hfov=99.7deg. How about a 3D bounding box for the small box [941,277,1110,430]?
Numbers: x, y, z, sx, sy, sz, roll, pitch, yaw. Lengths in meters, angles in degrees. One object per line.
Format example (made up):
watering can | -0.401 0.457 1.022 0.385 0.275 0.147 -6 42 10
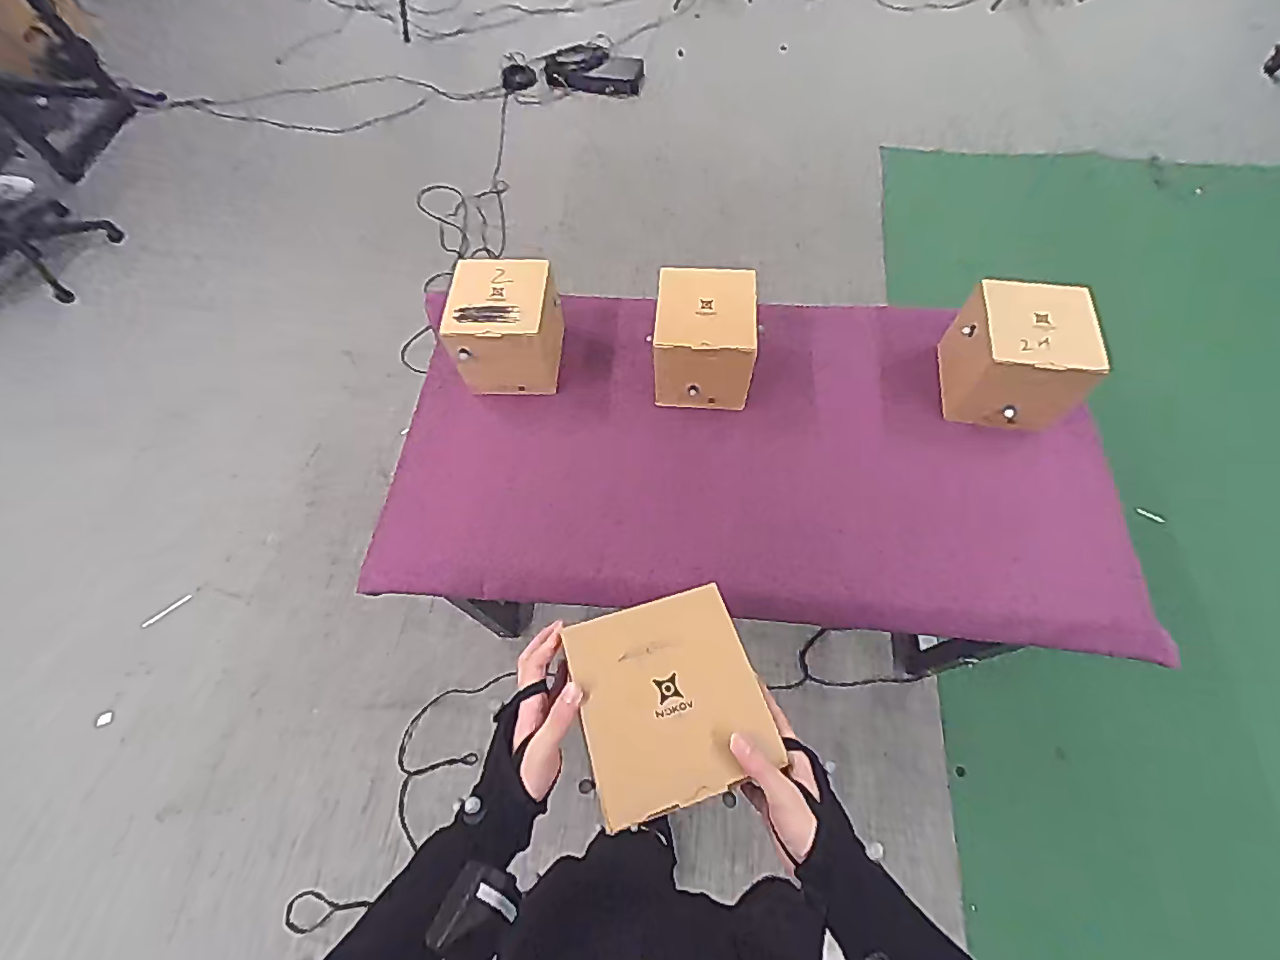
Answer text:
small box | 0.627 -0.209 0.907 0.168 0.176 0.179 8 64 8

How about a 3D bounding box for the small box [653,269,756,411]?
small box | 0.110 -0.245 0.956 0.168 0.176 0.179 3 64 4
